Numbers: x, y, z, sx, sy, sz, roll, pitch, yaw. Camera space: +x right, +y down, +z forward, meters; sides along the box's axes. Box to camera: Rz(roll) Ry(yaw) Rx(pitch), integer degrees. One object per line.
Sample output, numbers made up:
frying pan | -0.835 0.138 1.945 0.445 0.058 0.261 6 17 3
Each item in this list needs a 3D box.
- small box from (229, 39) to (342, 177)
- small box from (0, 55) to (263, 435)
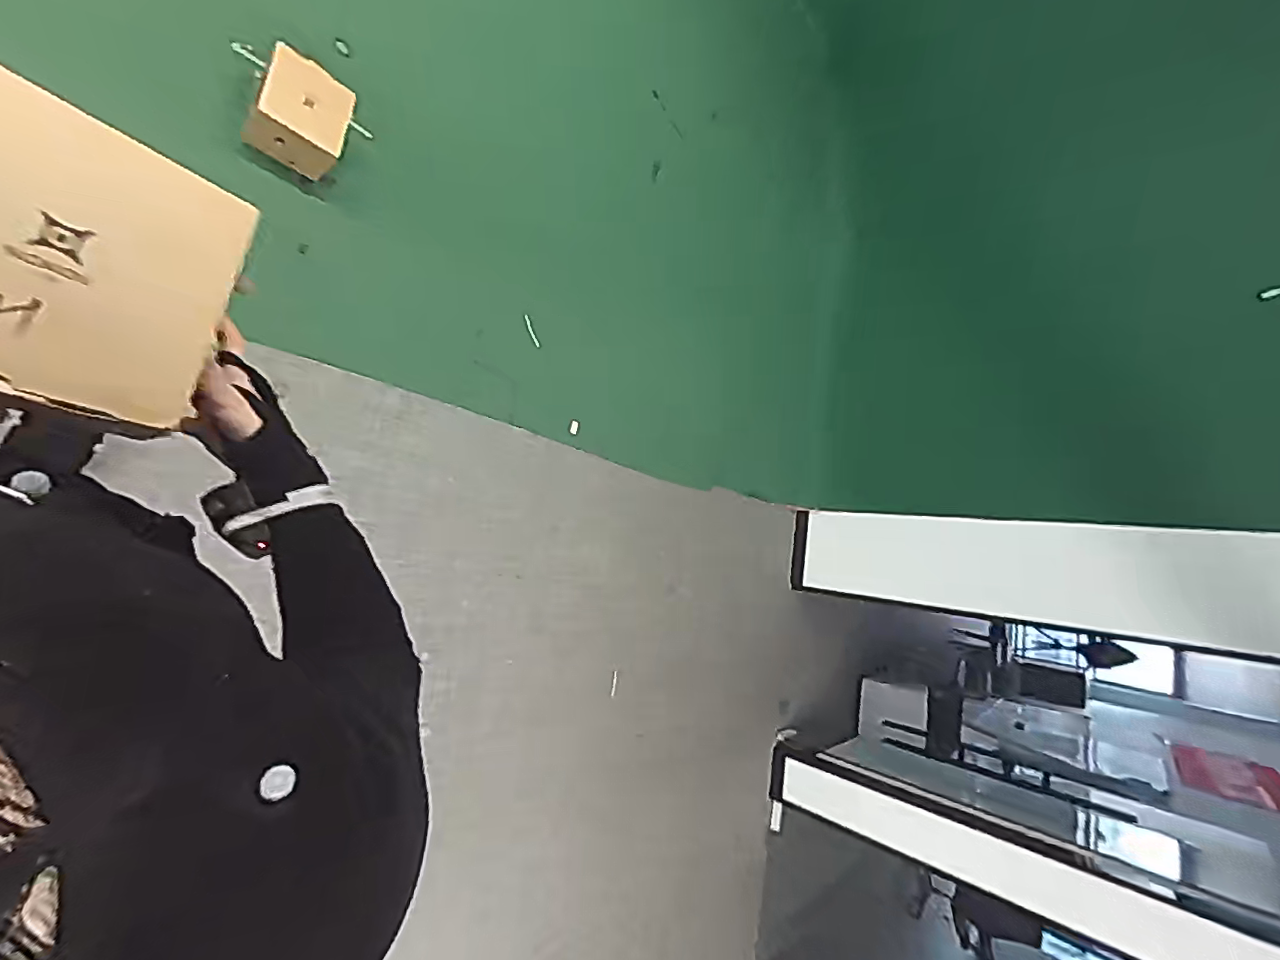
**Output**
small box | -0.831 -0.853 1.264 0.168 0.176 0.179 19 76 -47
small box | -0.406 -0.141 0.373 0.168 0.176 0.179 26 72 -46
